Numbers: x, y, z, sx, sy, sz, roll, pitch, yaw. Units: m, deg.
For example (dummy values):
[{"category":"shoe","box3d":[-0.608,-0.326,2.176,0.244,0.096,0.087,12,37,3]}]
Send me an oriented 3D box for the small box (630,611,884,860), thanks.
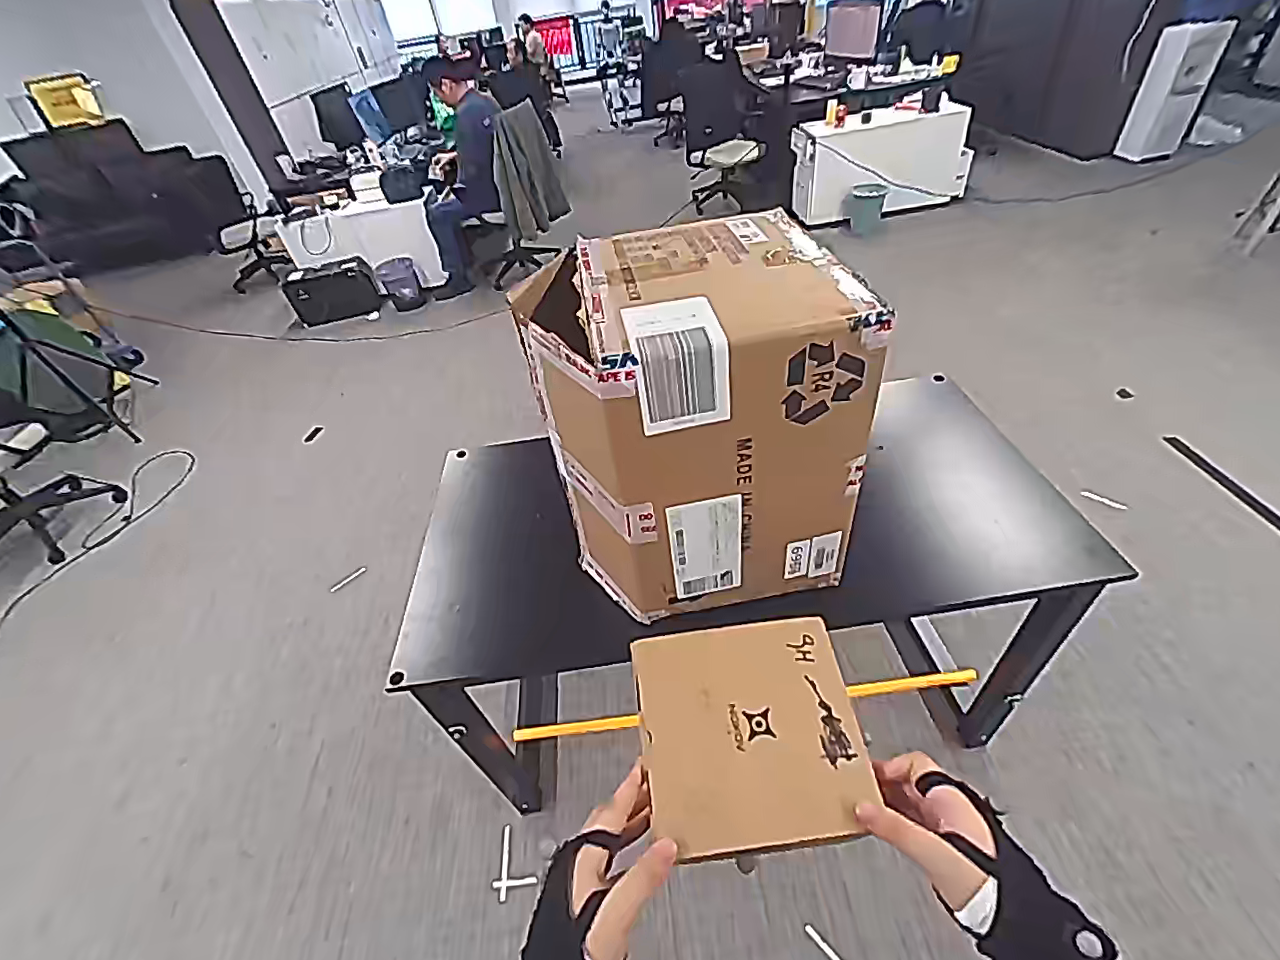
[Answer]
[{"category":"small box","box3d":[0.091,0.241,0.501,0.179,0.176,0.168,-7,52,-1]}]
